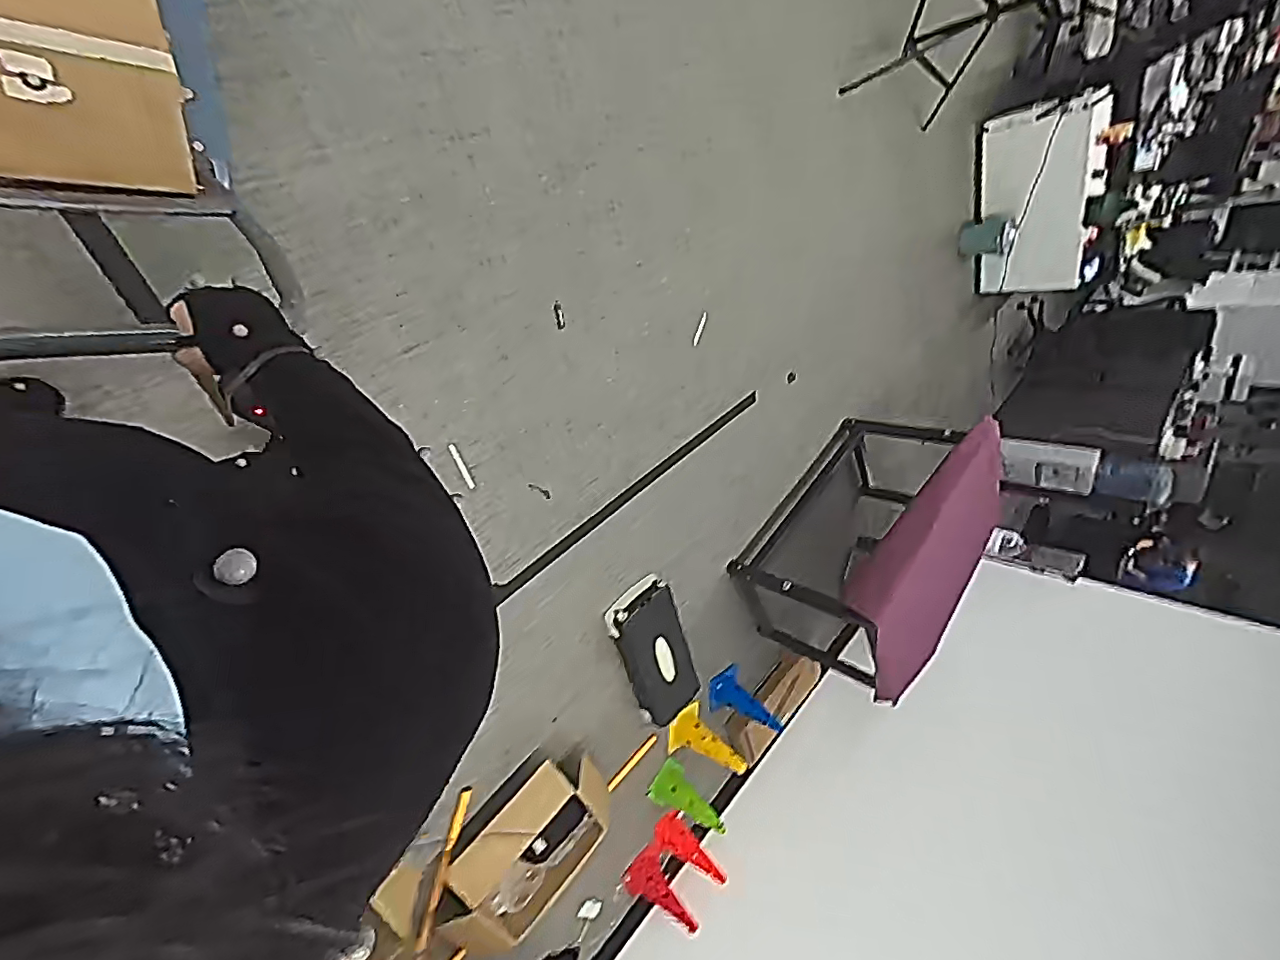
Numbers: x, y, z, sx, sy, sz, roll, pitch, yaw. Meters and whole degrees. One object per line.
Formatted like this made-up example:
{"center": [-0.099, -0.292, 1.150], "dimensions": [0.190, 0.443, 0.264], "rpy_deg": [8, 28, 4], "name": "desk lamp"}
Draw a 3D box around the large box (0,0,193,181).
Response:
{"center": [-0.872, -0.584, 0.674], "dimensions": [0.408, 0.320, 0.320], "rpy_deg": [-18, 131, -40], "name": "large box"}
